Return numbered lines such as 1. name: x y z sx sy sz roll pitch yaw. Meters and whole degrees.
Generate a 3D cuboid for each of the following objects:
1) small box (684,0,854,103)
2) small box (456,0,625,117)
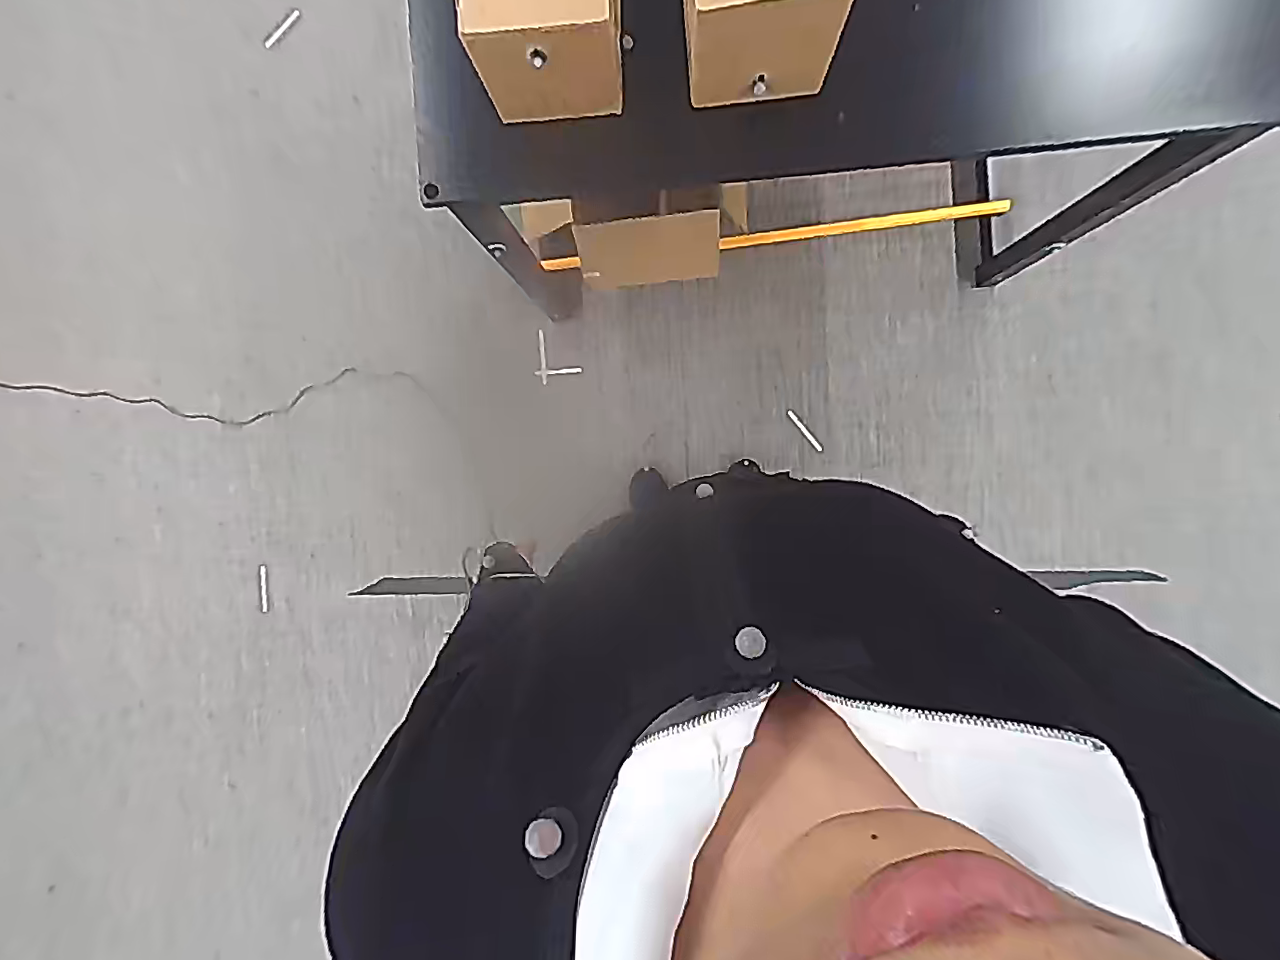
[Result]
1. small box: 0.146 -0.599 0.656 0.179 0.176 0.168 -4 91 4
2. small box: -0.116 -0.588 0.676 0.179 0.176 0.168 -3 93 3
